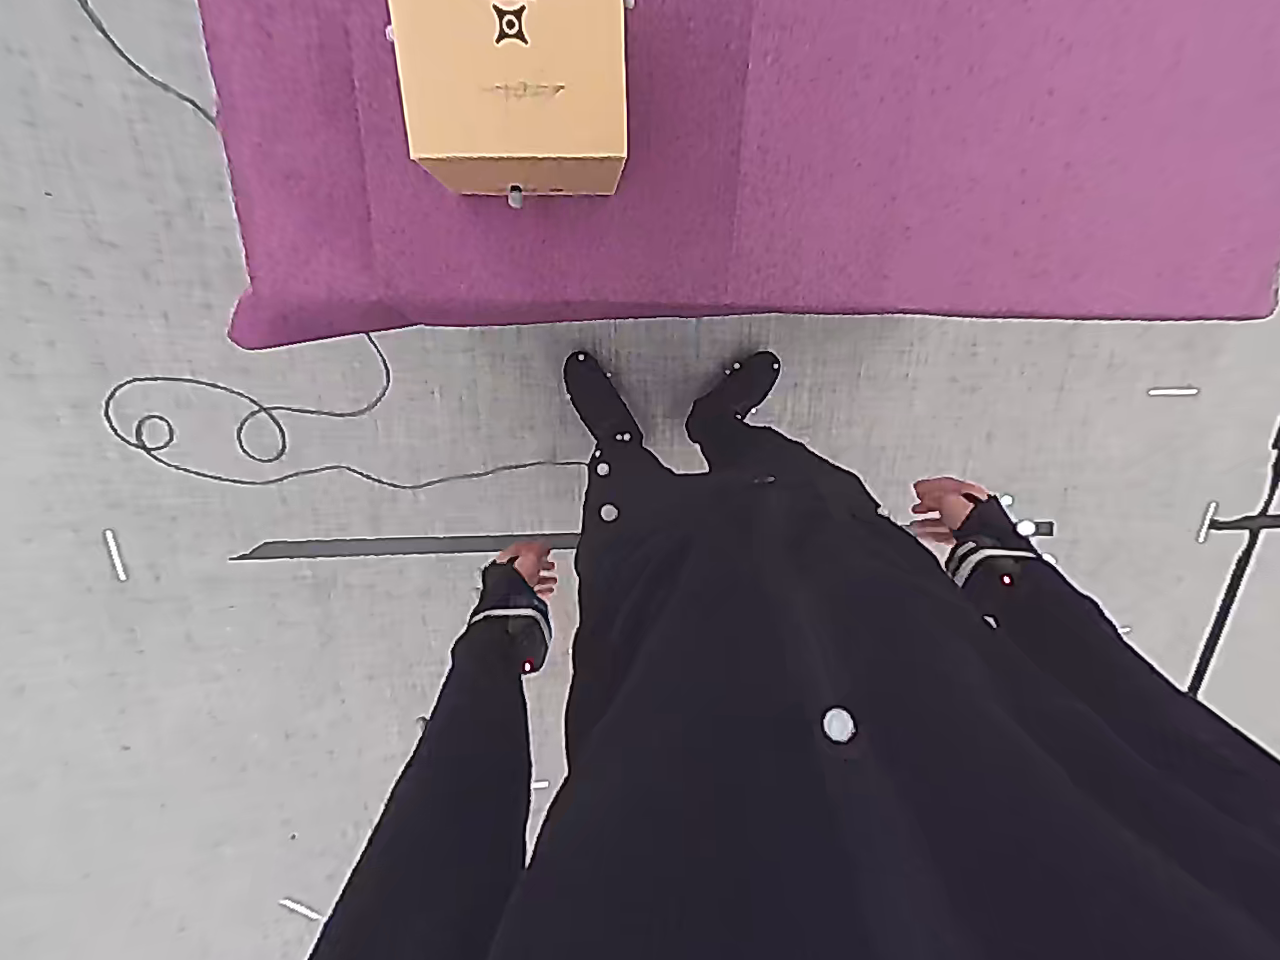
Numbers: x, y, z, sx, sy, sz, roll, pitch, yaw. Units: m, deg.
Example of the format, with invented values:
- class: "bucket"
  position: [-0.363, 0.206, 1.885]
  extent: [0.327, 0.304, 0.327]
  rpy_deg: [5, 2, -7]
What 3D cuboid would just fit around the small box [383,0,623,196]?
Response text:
- class: "small box"
  position: [-0.104, -0.352, 0.453]
  extent: [0.168, 0.176, 0.179]
  rpy_deg: [-3, 109, -5]
